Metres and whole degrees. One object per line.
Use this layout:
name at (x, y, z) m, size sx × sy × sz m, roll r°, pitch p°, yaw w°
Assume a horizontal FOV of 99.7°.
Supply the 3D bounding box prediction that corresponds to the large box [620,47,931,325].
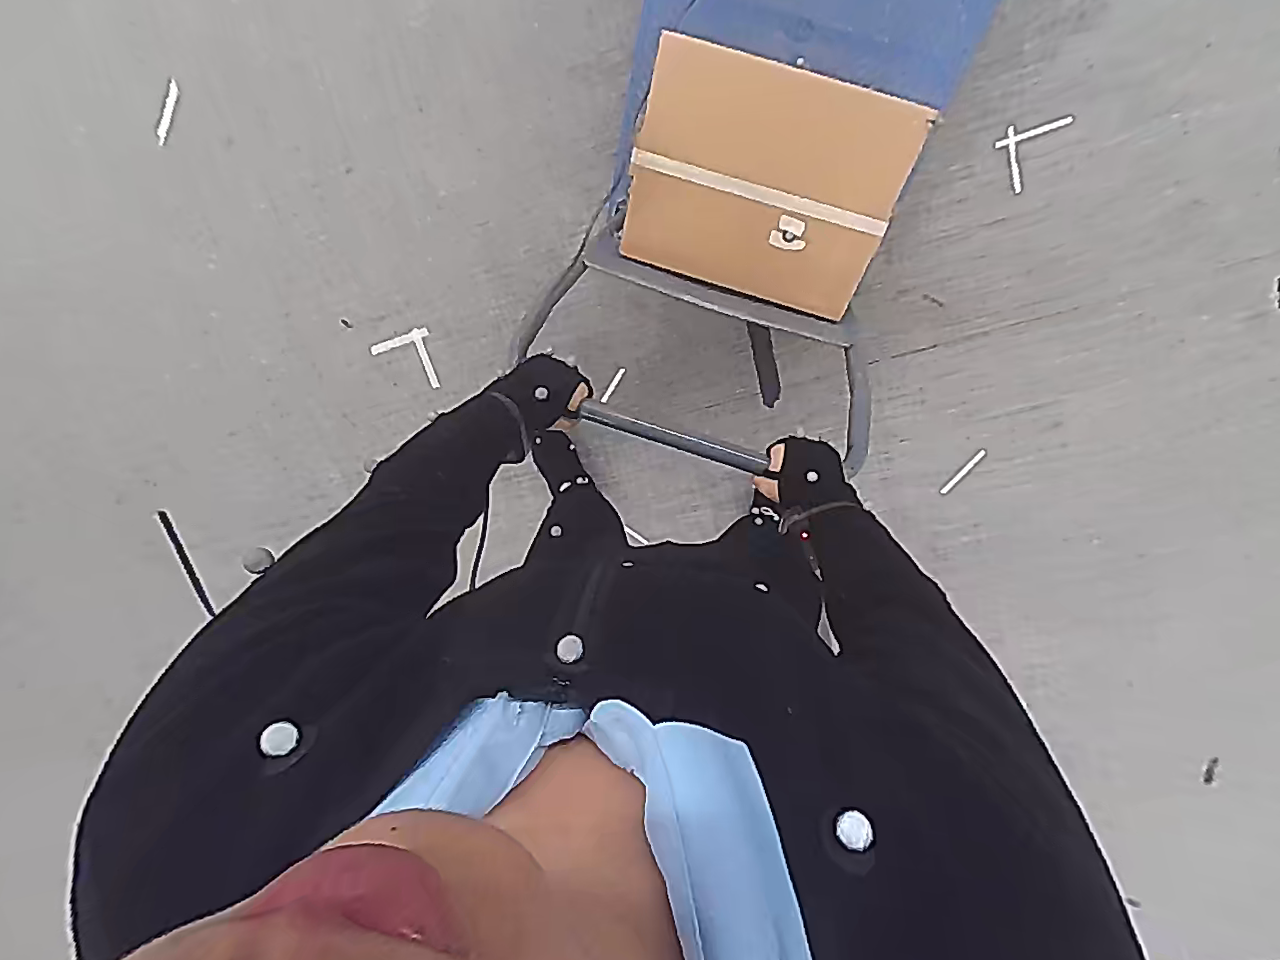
large box at (0.211, -0.523, 0.961) m, size 0.408 × 0.320 × 0.320 m, roll 17°, pitch 129°, yaw 1°
